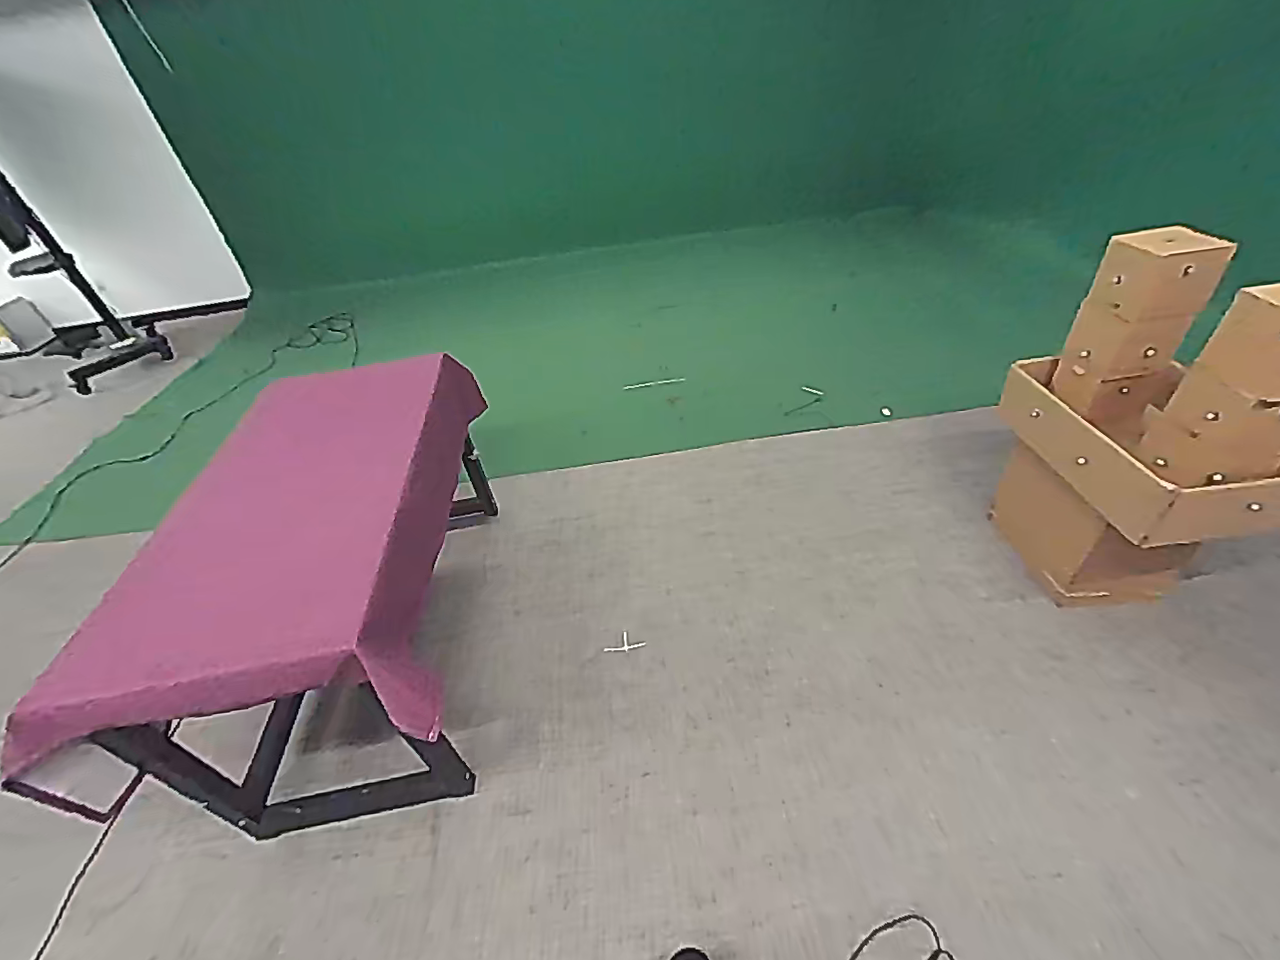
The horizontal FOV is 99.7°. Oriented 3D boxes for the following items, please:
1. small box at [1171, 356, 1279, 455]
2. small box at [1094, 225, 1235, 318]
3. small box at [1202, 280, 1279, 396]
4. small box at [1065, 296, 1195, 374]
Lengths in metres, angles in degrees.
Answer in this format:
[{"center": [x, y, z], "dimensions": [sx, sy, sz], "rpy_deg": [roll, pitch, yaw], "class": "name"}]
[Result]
[{"center": [1.337, -0.168, 1.190], "dimensions": [0.179, 0.176, 0.168], "rpy_deg": [-4, 41, 6], "class": "small box"}, {"center": [1.304, -0.524, 1.367], "dimensions": [0.179, 0.176, 0.168], "rpy_deg": [-8, 39, 2], "class": "small box"}, {"center": [1.313, -0.289, 1.084], "dimensions": [0.168, 0.176, 0.179], "rpy_deg": [-8, 41, 3], "class": "small box"}, {"center": [1.322, -0.399, 1.474], "dimensions": [0.168, 0.176, 0.179], "rpy_deg": [-9, 40, 1], "class": "small box"}]
